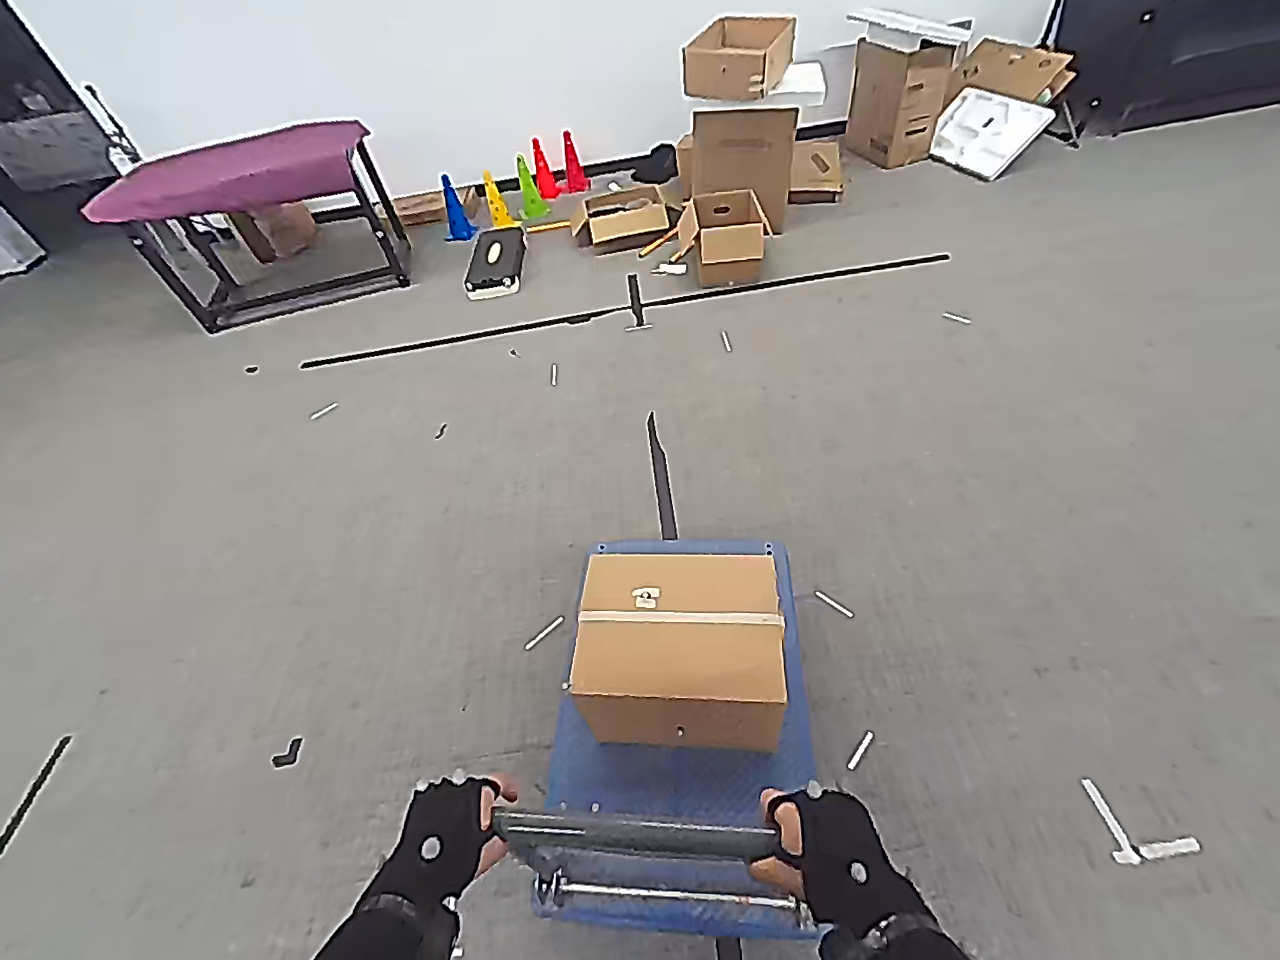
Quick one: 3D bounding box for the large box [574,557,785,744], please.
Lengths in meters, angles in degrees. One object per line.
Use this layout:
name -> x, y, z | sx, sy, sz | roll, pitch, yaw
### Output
large box -> 0.099, 0.389, 1.219 | 0.408, 0.320, 0.320 | -2, 48, 9
